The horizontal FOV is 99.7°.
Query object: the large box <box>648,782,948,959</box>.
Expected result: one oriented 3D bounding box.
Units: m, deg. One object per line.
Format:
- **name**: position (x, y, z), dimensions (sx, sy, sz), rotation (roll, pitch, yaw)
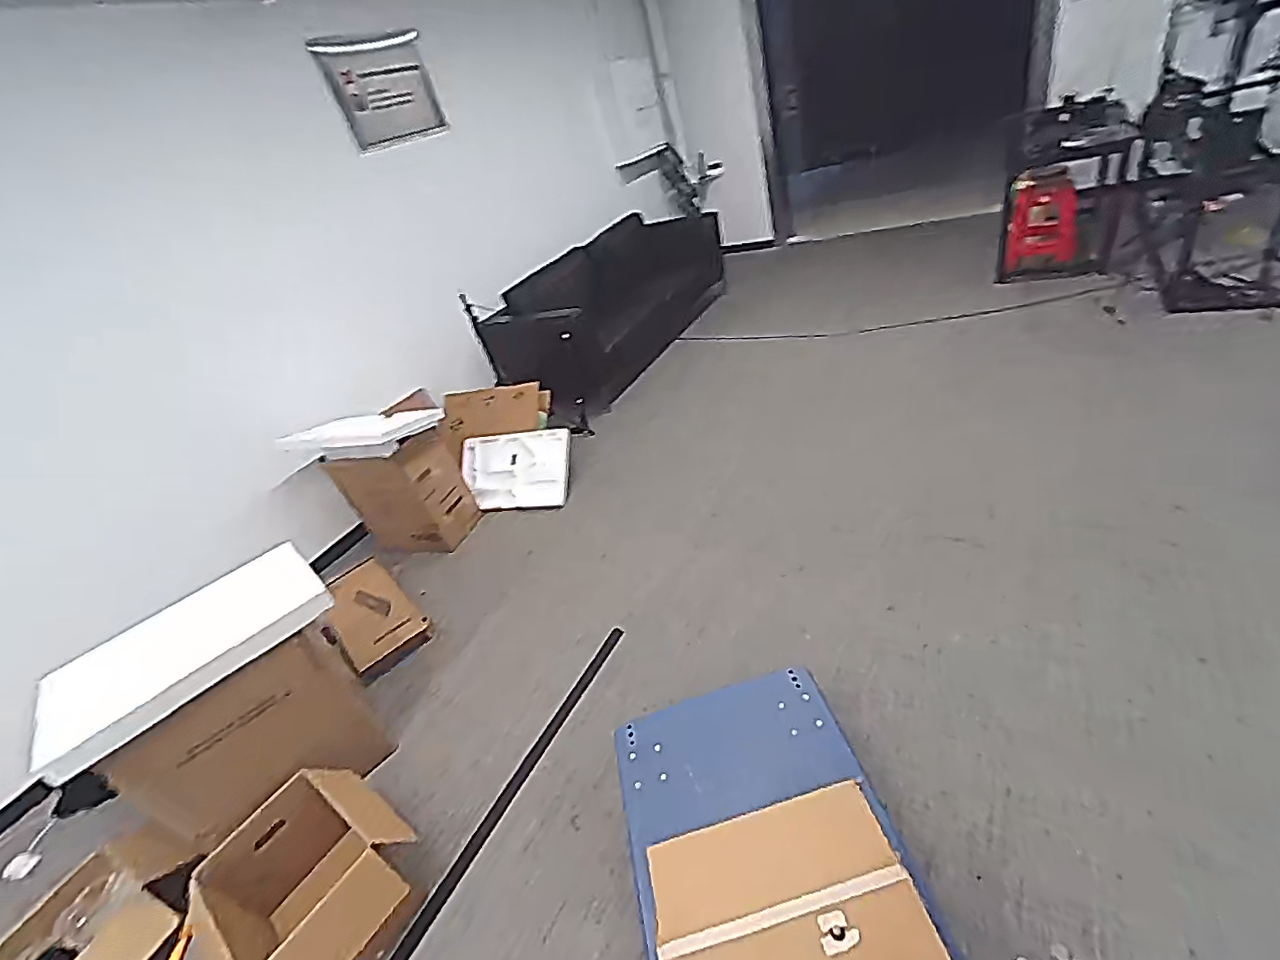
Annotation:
- **large box**: position (0.264, 0.810, 0.933), dimensions (0.408, 0.320, 0.320), rotation (-18, 33, -1)
